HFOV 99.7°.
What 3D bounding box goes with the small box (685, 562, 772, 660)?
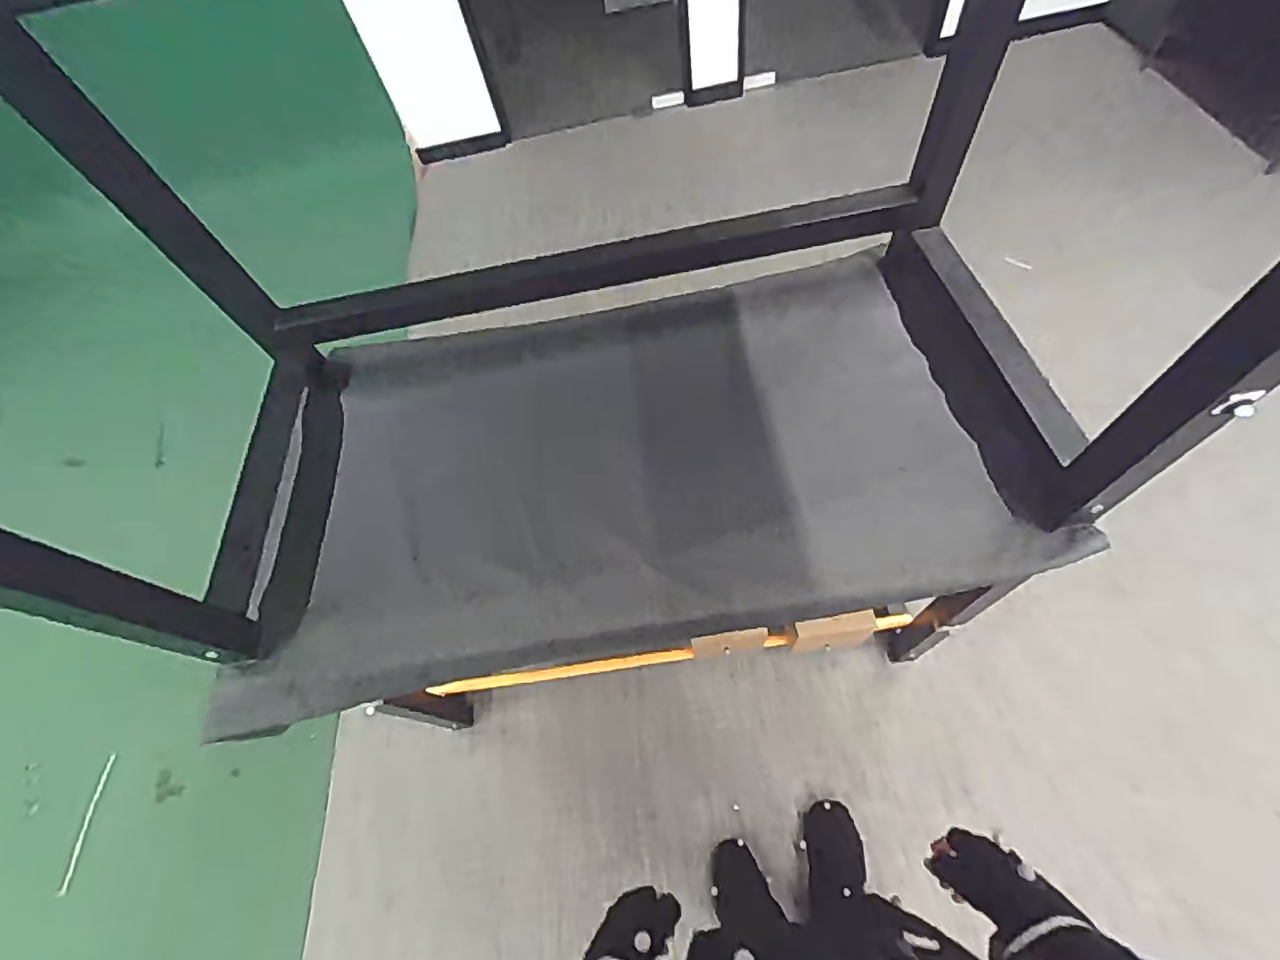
[{"bbox_3d":[0.202,0.310,1.254,0.168,0.176,0.179,-10,59,3],"label":"small box"}]
